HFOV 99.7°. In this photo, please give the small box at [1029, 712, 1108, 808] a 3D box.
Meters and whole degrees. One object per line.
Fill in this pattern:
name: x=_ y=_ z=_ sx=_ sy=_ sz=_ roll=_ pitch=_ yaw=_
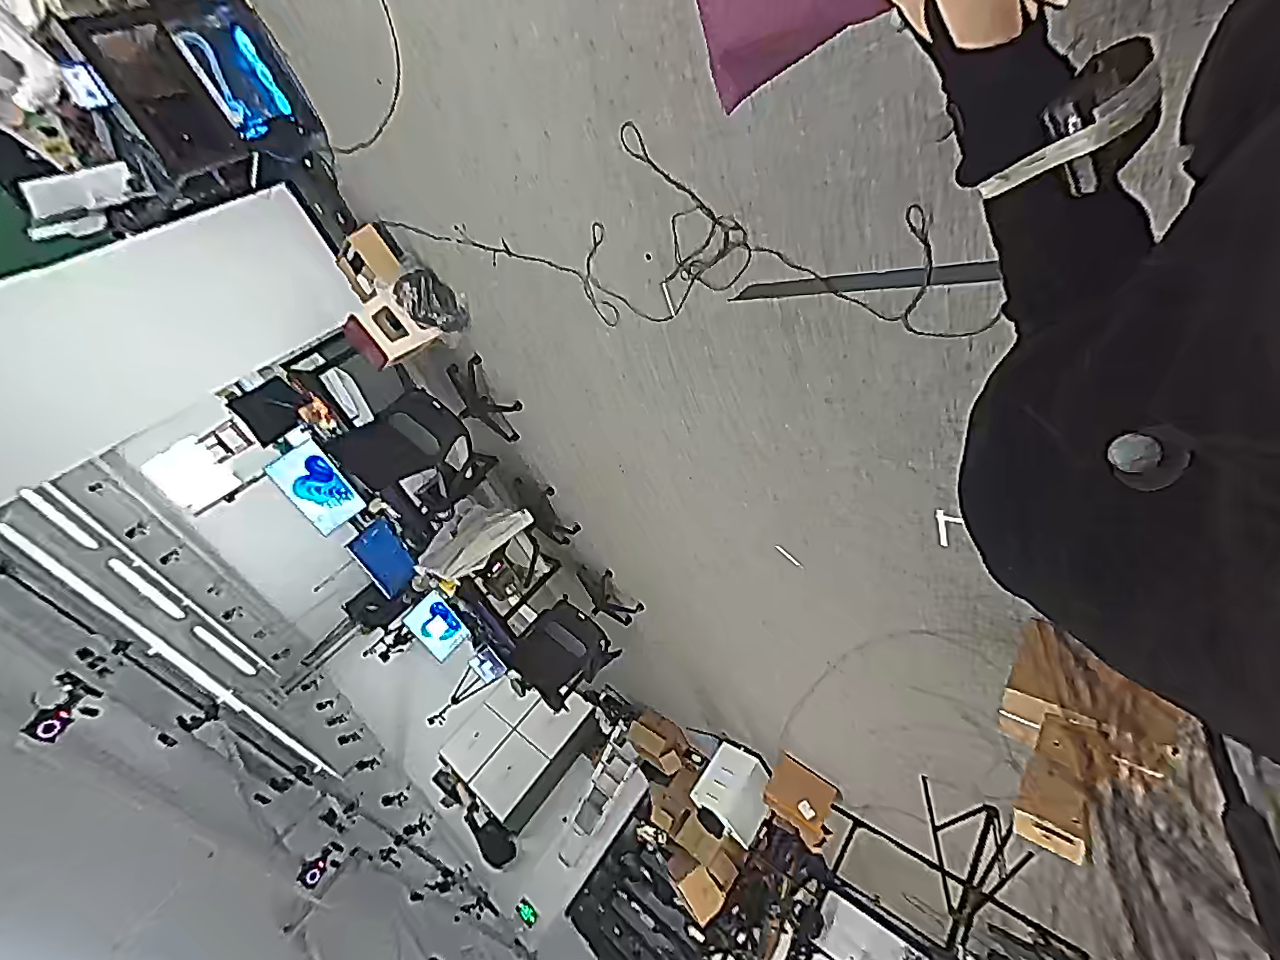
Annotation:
small box: x=1.317 y=0.853 z=1.663 sx=0.168 sy=0.176 sz=0.179 roll=10 pitch=137 yaw=46
